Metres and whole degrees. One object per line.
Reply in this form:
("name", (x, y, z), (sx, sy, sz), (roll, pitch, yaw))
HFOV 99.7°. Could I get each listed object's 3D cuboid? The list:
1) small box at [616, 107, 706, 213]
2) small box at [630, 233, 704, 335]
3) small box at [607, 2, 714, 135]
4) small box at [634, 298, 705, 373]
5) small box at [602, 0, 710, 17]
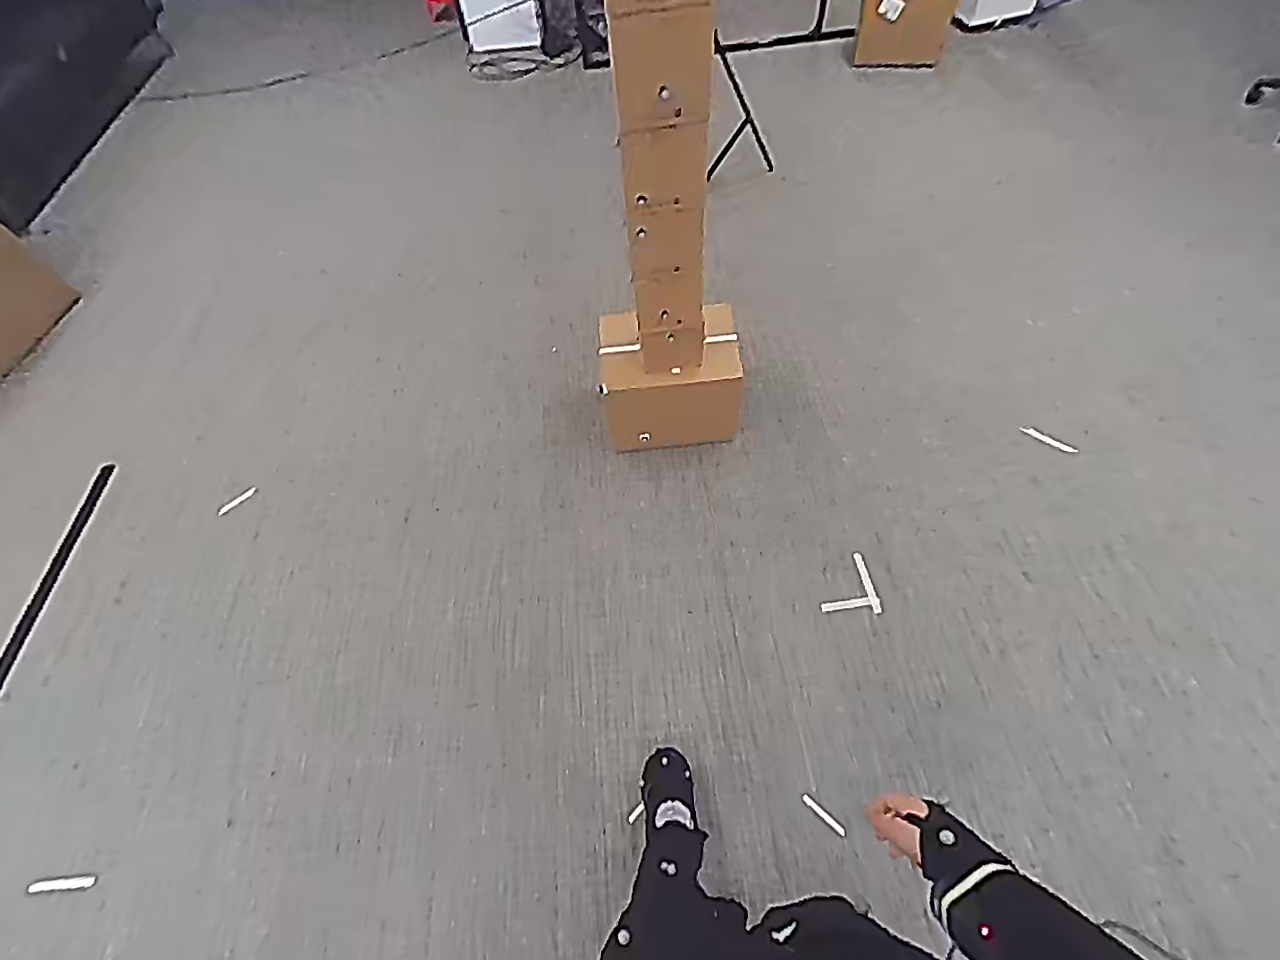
("small box", (0.044, -0.662, 1.095), (0.168, 0.176, 0.179), (-5, 59, 2))
("small box", (0.067, -0.496, 1.376), (0.168, 0.176, 0.179), (-7, 59, 1))
("small box", (0.032, -0.745, 0.953), (0.168, 0.176, 0.179), (-8, 60, 1))
("small box", (0.082, -0.419, 1.518), (0.179, 0.176, 0.168), (-7, 59, -1))
("small box", (0.016, -0.832, 0.814), (0.168, 0.176, 0.179), (-8, 60, 0))
